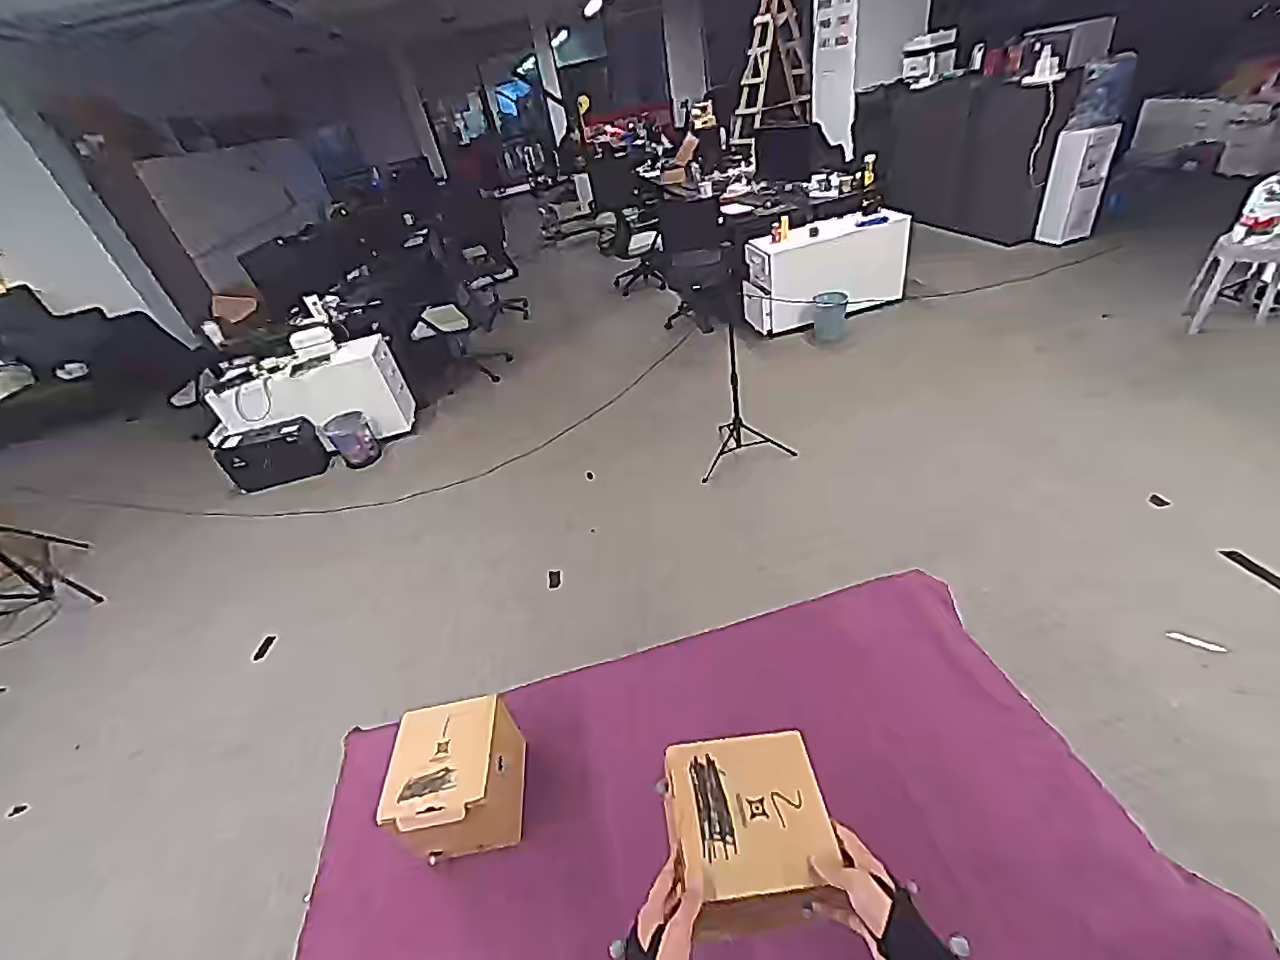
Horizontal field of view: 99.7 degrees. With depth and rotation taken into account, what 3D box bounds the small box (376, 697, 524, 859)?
[{"bbox_3d":[-0.298,0.496,0.893,0.168,0.176,0.179,-12,36,0],"label":"small box"}]
